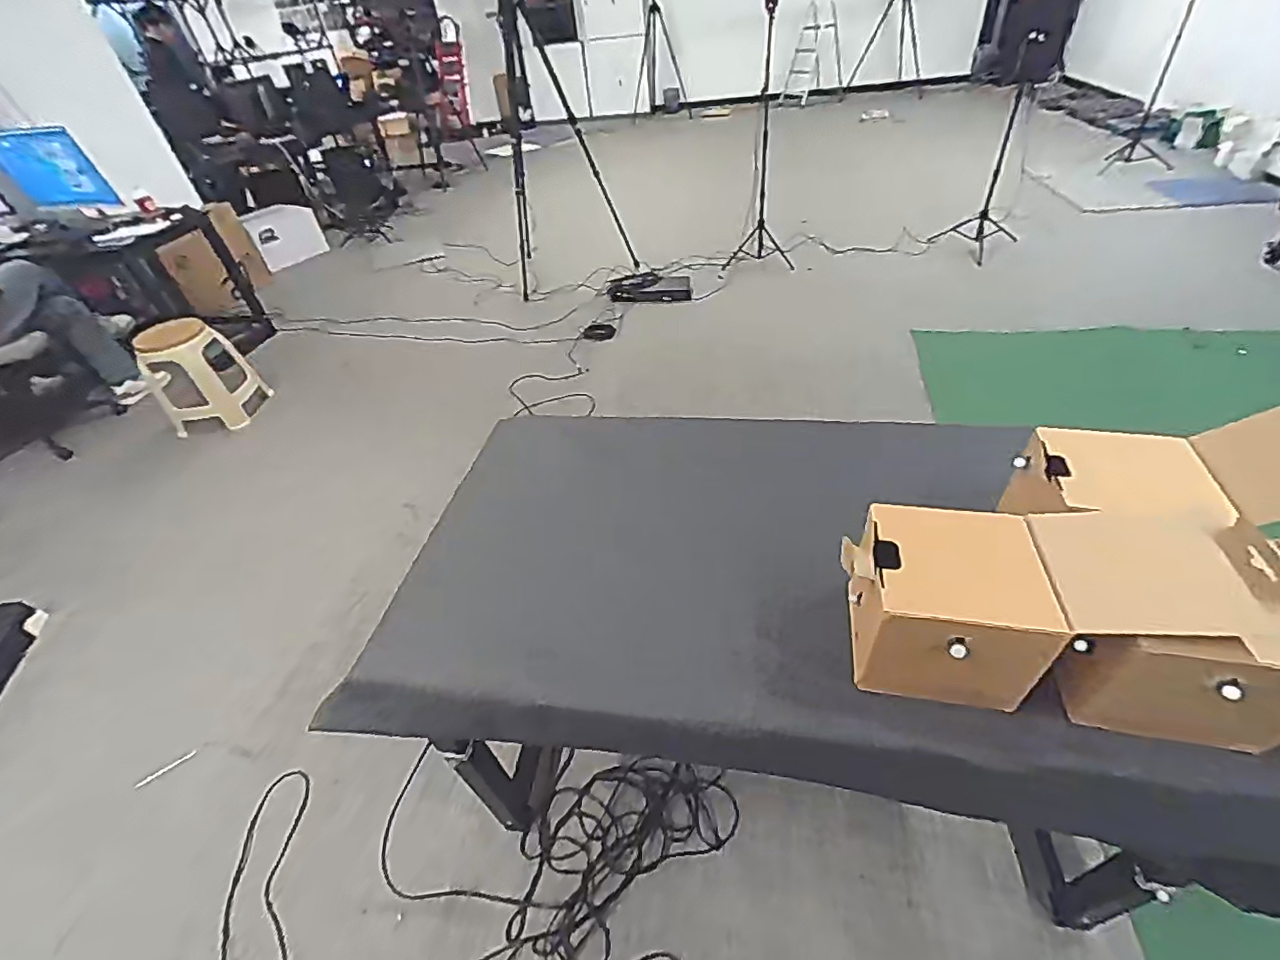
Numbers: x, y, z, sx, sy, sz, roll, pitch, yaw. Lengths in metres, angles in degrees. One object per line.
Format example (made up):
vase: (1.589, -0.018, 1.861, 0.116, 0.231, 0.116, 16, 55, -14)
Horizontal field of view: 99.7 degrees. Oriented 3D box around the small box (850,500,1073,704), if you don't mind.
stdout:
small box: (0.360, 0.146, 0.648, 0.179, 0.176, 0.168, 4, 43, 14)
